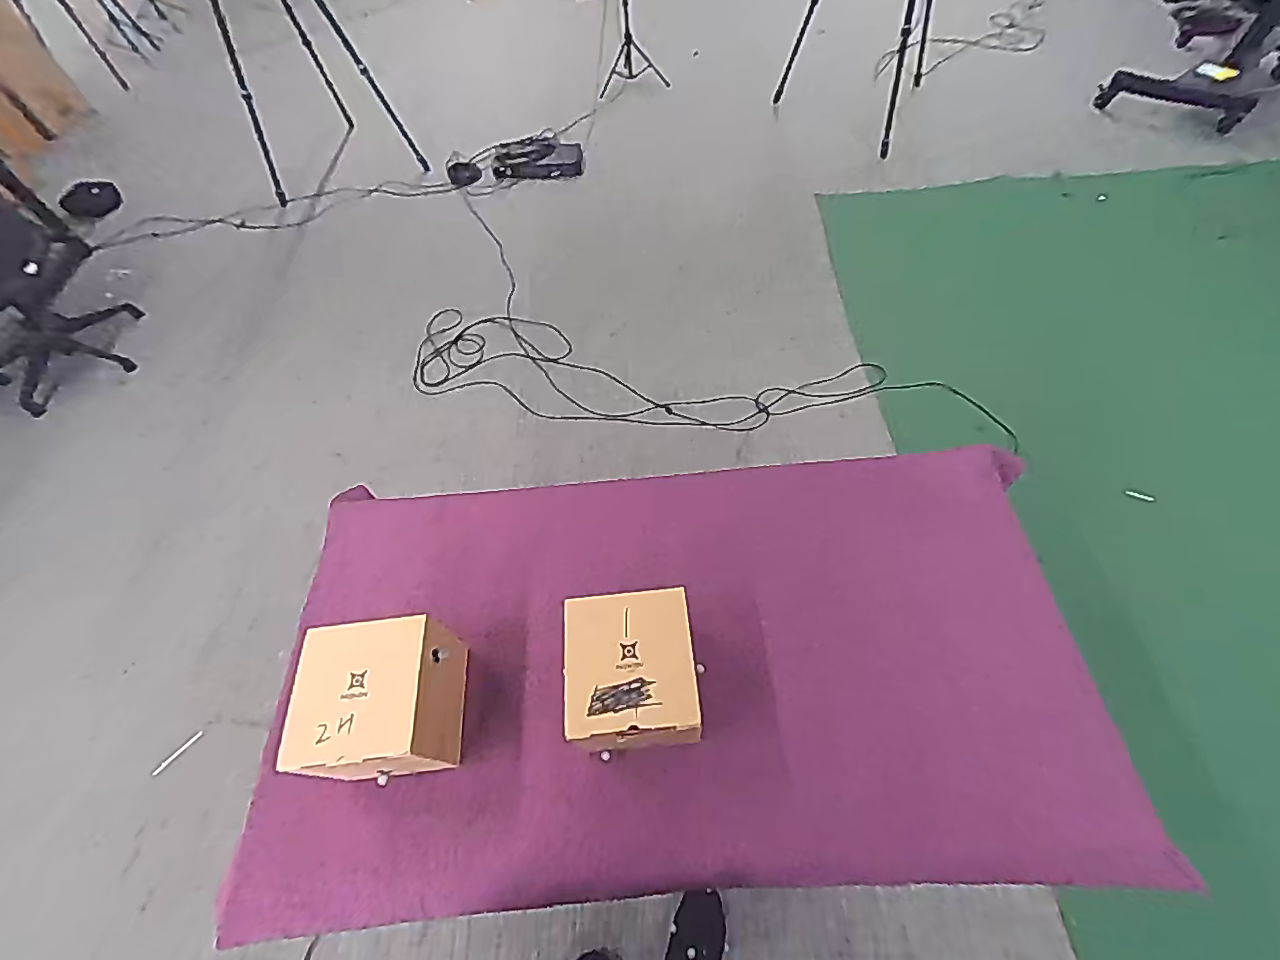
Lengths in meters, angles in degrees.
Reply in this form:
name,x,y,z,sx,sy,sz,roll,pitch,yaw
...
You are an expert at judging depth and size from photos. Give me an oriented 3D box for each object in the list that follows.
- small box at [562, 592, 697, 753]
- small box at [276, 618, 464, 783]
name,x,y,z,sx,sy,sz,roll,pitch,yaw
small box,-0.011,0.274,0.750,0.168,0.176,0.179,-6,56,1
small box,-0.356,0.311,0.755,0.168,0.176,0.179,-7,57,1
